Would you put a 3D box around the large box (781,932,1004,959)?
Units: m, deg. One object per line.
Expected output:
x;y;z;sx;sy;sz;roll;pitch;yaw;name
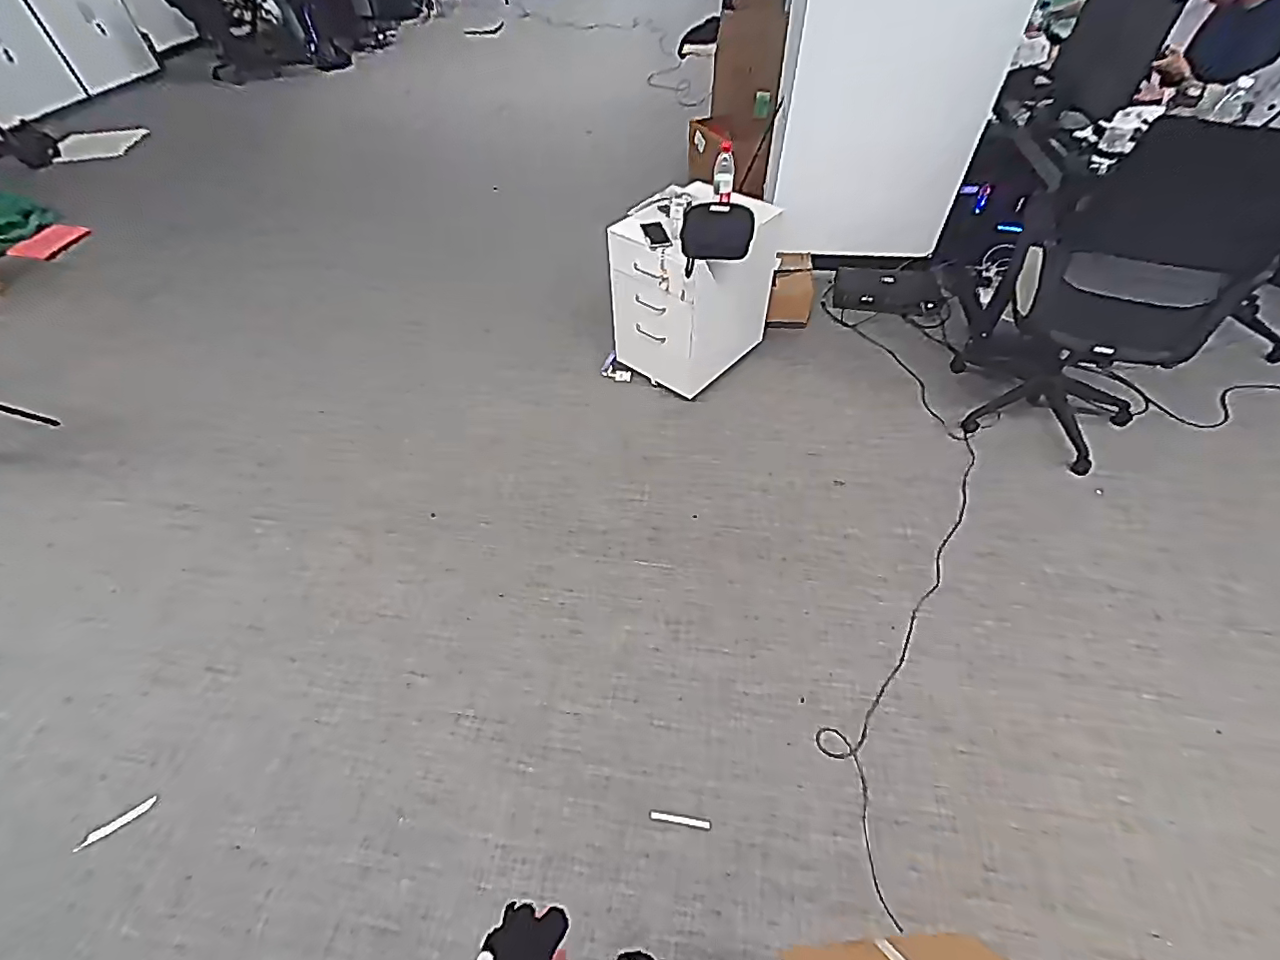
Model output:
0.386;0.797;0.605;0.320;0.408;0.320;-2;73;-5;large box
